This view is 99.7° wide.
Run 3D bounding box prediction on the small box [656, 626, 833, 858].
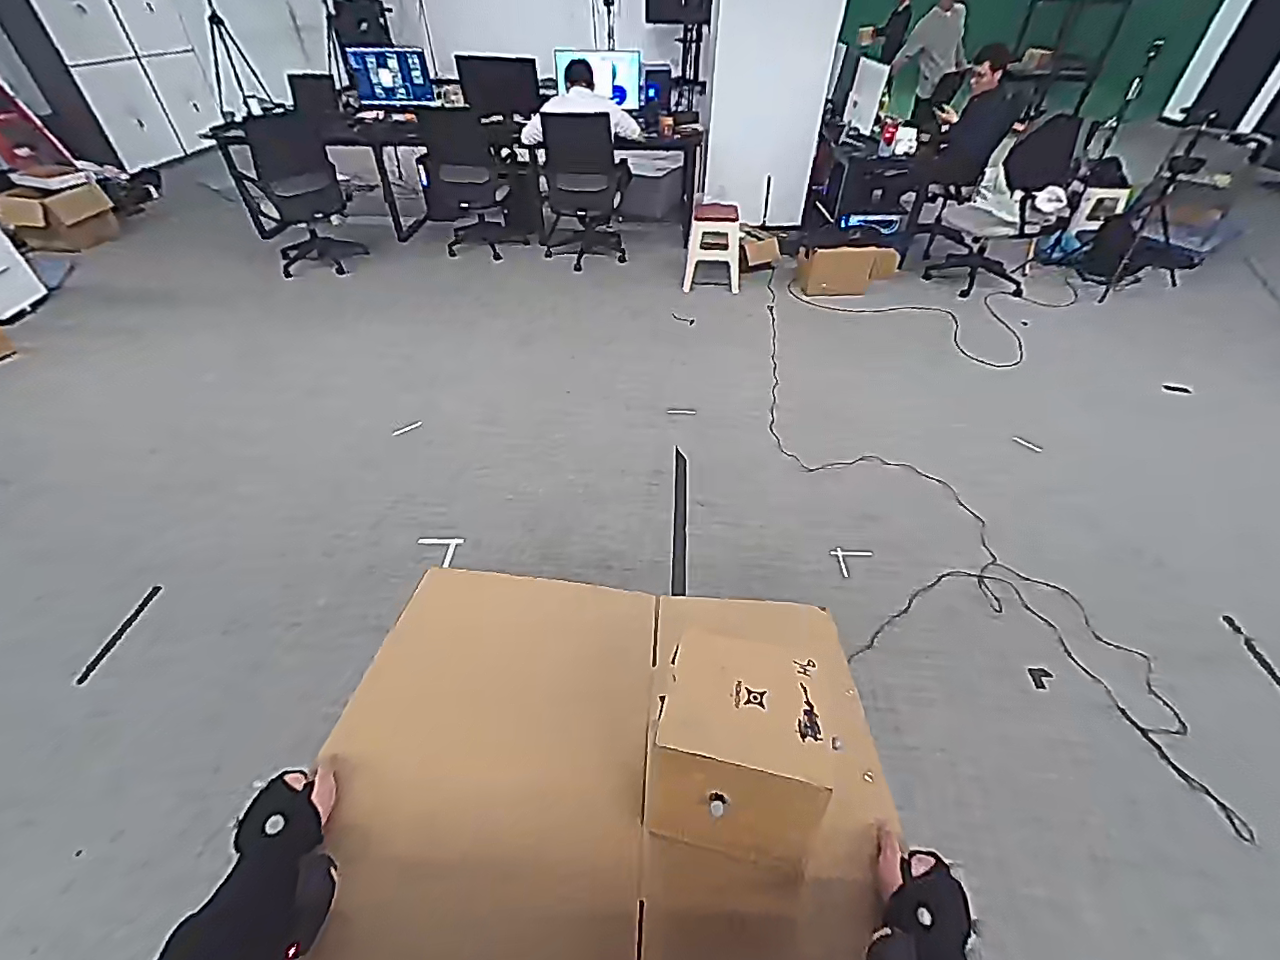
[{"bbox_3d":[0.120,0.303,0.635,0.179,0.176,0.168,7,32,12],"label":"small box"}]
